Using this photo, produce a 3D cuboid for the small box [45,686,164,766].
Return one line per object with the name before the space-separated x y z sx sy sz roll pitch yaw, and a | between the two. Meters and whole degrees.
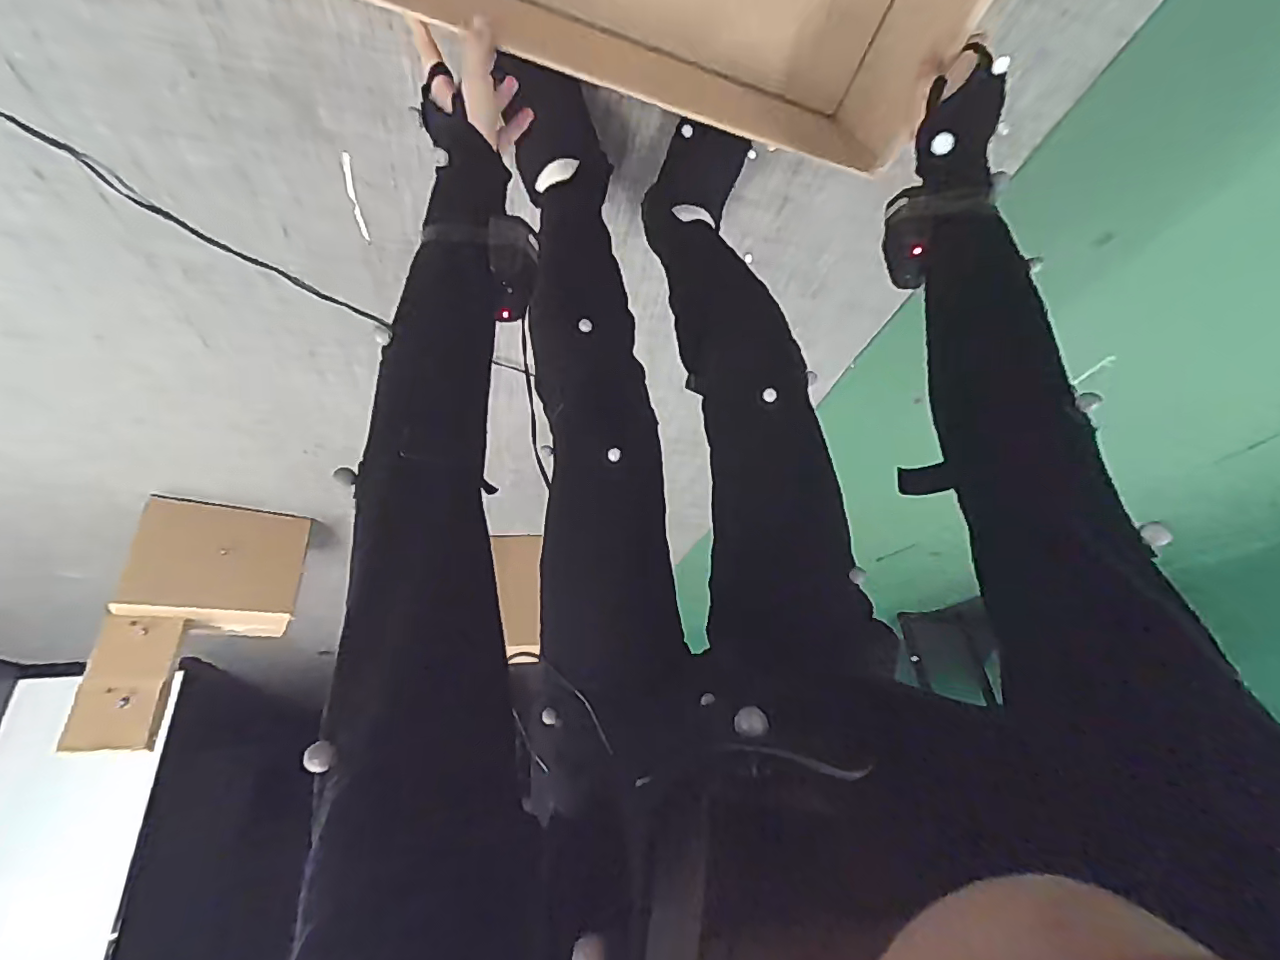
small box | -1.361 0.634 1.390 0.168 0.176 0.179 13 146 -30
